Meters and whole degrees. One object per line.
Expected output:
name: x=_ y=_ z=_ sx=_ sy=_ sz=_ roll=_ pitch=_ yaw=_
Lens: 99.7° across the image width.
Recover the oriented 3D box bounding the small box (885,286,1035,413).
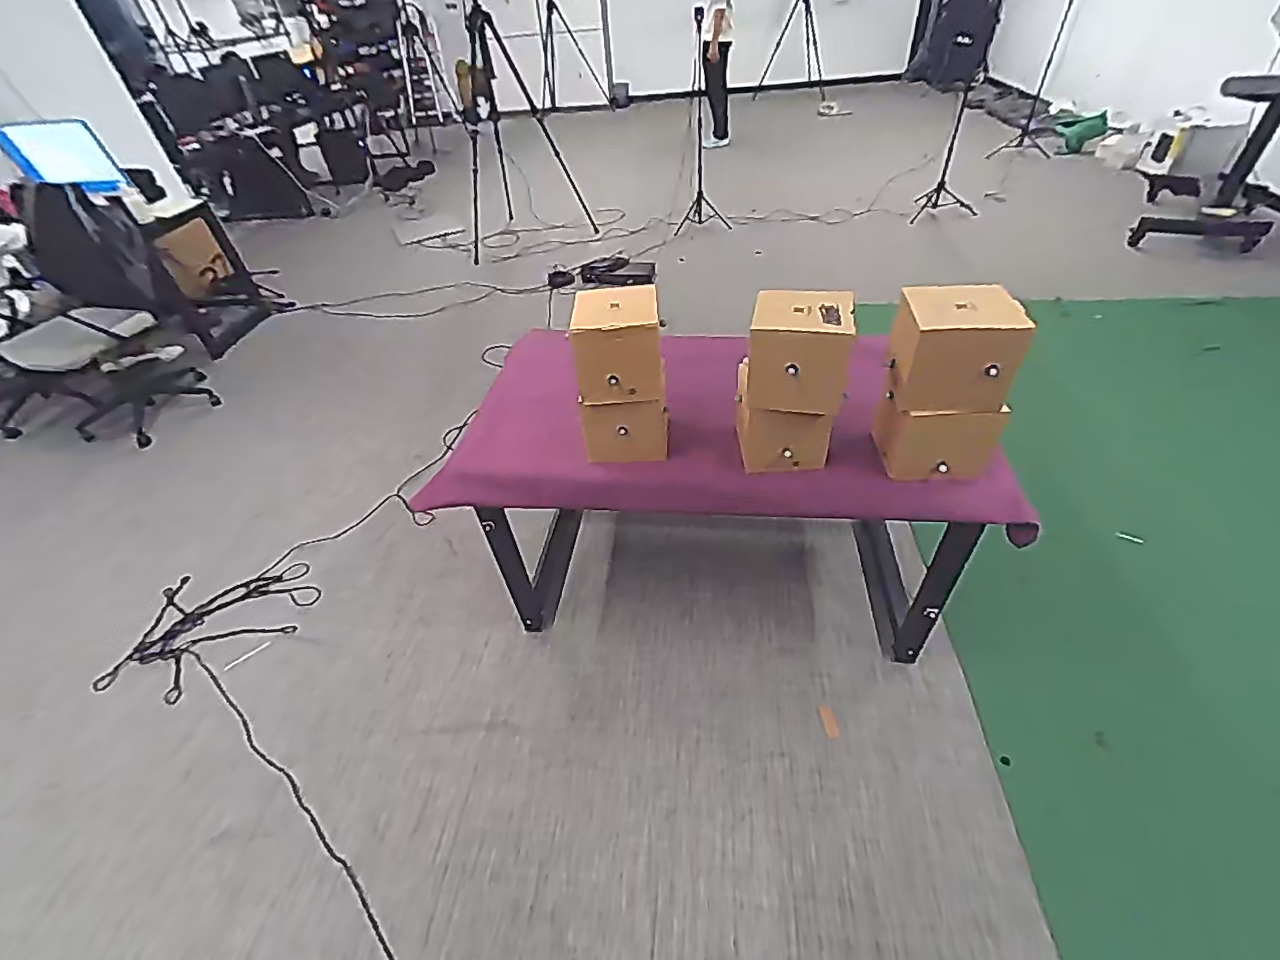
small box: x=0.566 y=-0.235 z=0.985 sx=0.179 sy=0.176 sz=0.168 roll=2 pitch=43 yaw=11

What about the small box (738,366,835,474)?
small box: x=0.302 y=-0.132 z=1.150 sx=0.168 sy=0.176 sz=0.179 roll=-3 pitch=42 yaw=5

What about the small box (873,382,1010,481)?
small box: x=0.592 y=-0.111 z=1.088 sx=0.179 sy=0.176 sz=0.168 roll=-2 pitch=43 yaw=6

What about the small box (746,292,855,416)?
small box: x=0.300 y=-0.237 z=1.021 sx=0.179 sy=0.176 sz=0.168 roll=6 pitch=43 yaw=15
